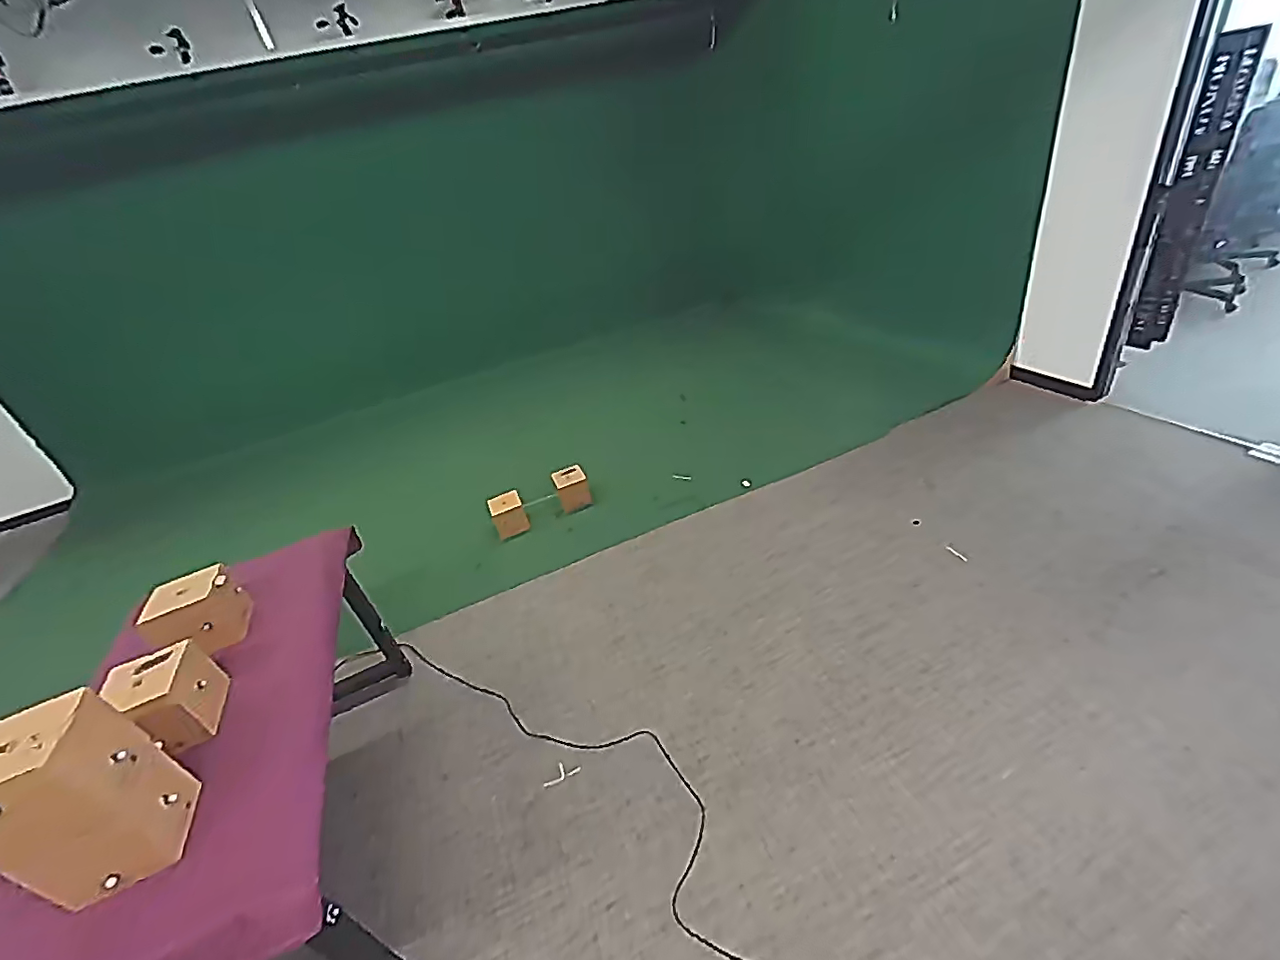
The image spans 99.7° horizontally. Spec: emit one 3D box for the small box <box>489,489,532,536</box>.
[{"bbox_3d":[-0.704,0.183,2.944,0.168,0.176,0.179,-22,33,-13],"label":"small box"}]

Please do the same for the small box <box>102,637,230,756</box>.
[{"bbox_3d":[-1.090,0.506,1.245,0.168,0.176,0.179,-22,35,-14],"label":"small box"}]

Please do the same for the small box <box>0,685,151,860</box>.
[{"bbox_3d":[-1.009,0.497,0.923,0.179,0.176,0.168,-22,34,-15],"label":"small box"}]

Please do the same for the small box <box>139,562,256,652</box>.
[{"bbox_3d":[-1.215,0.366,1.505,0.179,0.176,0.168,-22,33,-13],"label":"small box"}]

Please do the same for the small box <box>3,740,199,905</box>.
[{"bbox_3d":[-0.979,0.635,1.009,0.179,0.176,0.168,-22,33,-14],"label":"small box"}]
